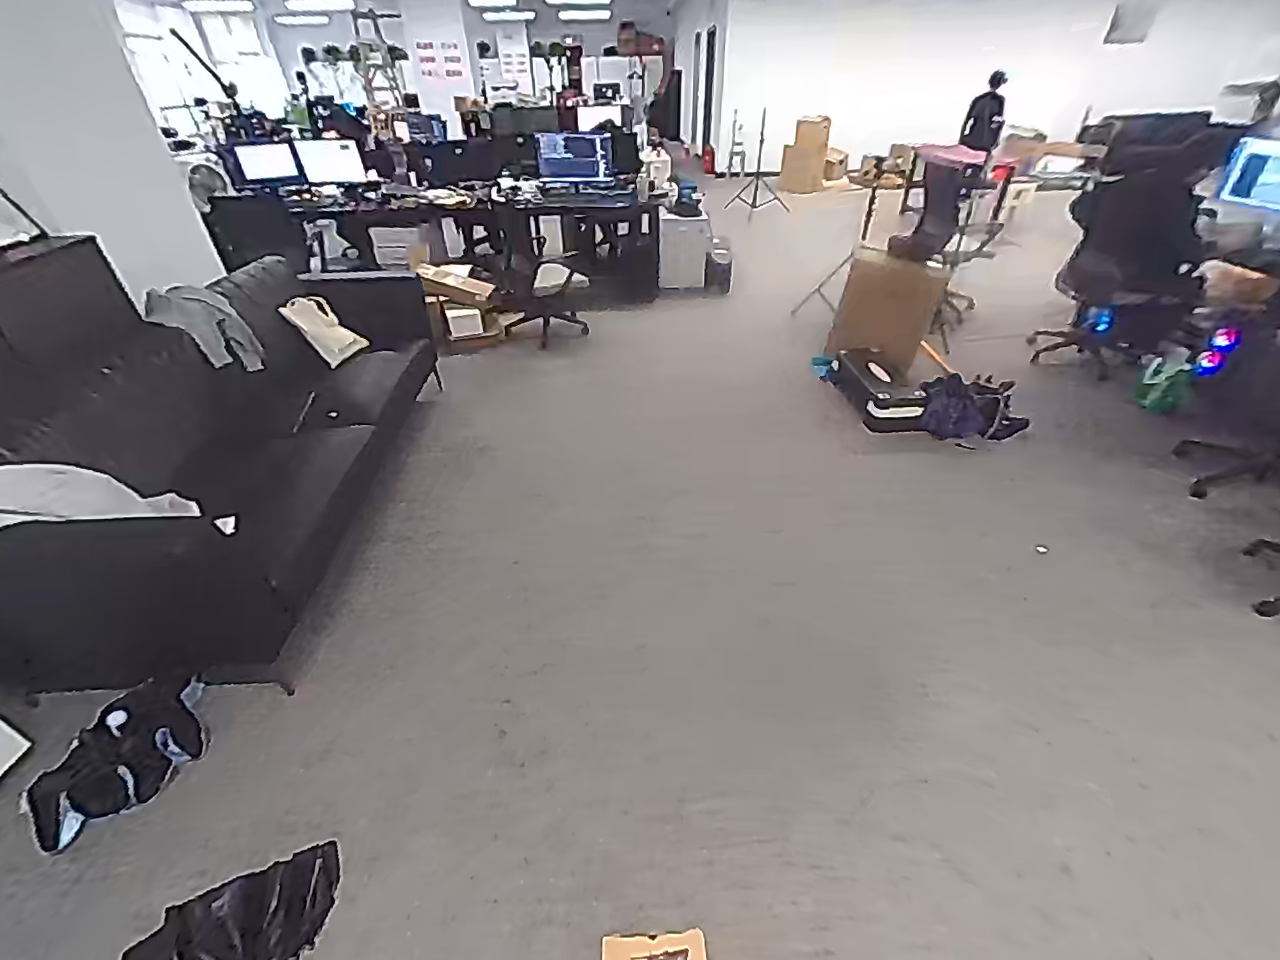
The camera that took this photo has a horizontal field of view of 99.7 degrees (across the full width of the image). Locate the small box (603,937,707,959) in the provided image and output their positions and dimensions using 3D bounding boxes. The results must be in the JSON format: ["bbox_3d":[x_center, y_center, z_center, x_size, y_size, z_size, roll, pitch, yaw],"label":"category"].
[{"bbox_3d":[0.025,0.846,0.838,0.168,0.176,0.179,-3,40,-2],"label":"small box"}]
